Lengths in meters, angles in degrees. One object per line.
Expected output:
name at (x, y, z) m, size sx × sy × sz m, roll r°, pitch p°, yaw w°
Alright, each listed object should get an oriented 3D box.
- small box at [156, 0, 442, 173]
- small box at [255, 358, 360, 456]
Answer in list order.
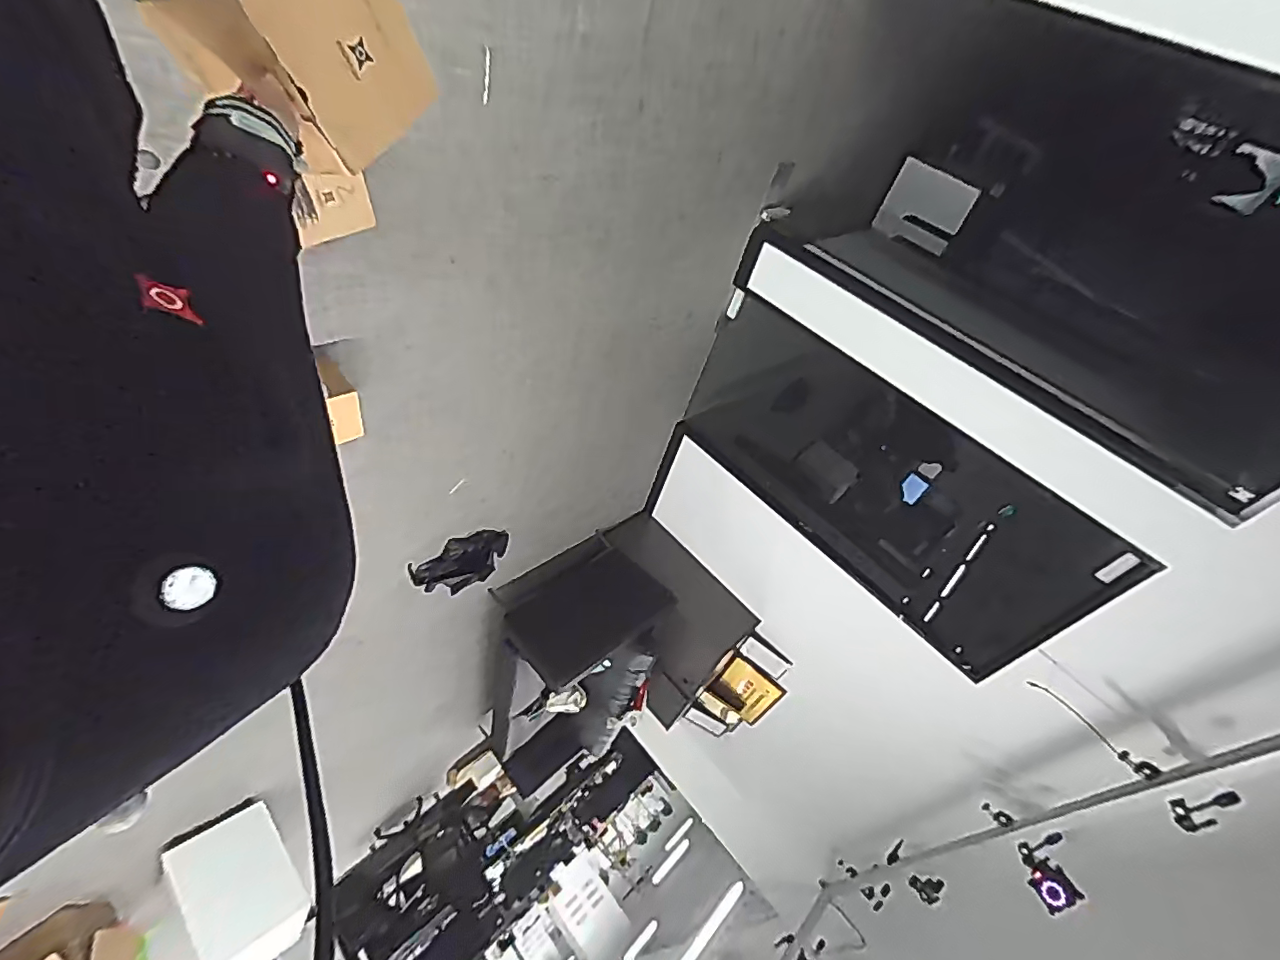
small box at (-0.362, -0.463, 0.585) m, size 0.179 × 0.176 × 0.168 m, roll -62°, pitch 157°, yaw -25°
small box at (-0.874, -0.199, 1.430) m, size 0.179 × 0.176 × 0.168 m, roll -28°, pitch 152°, yaw -37°
